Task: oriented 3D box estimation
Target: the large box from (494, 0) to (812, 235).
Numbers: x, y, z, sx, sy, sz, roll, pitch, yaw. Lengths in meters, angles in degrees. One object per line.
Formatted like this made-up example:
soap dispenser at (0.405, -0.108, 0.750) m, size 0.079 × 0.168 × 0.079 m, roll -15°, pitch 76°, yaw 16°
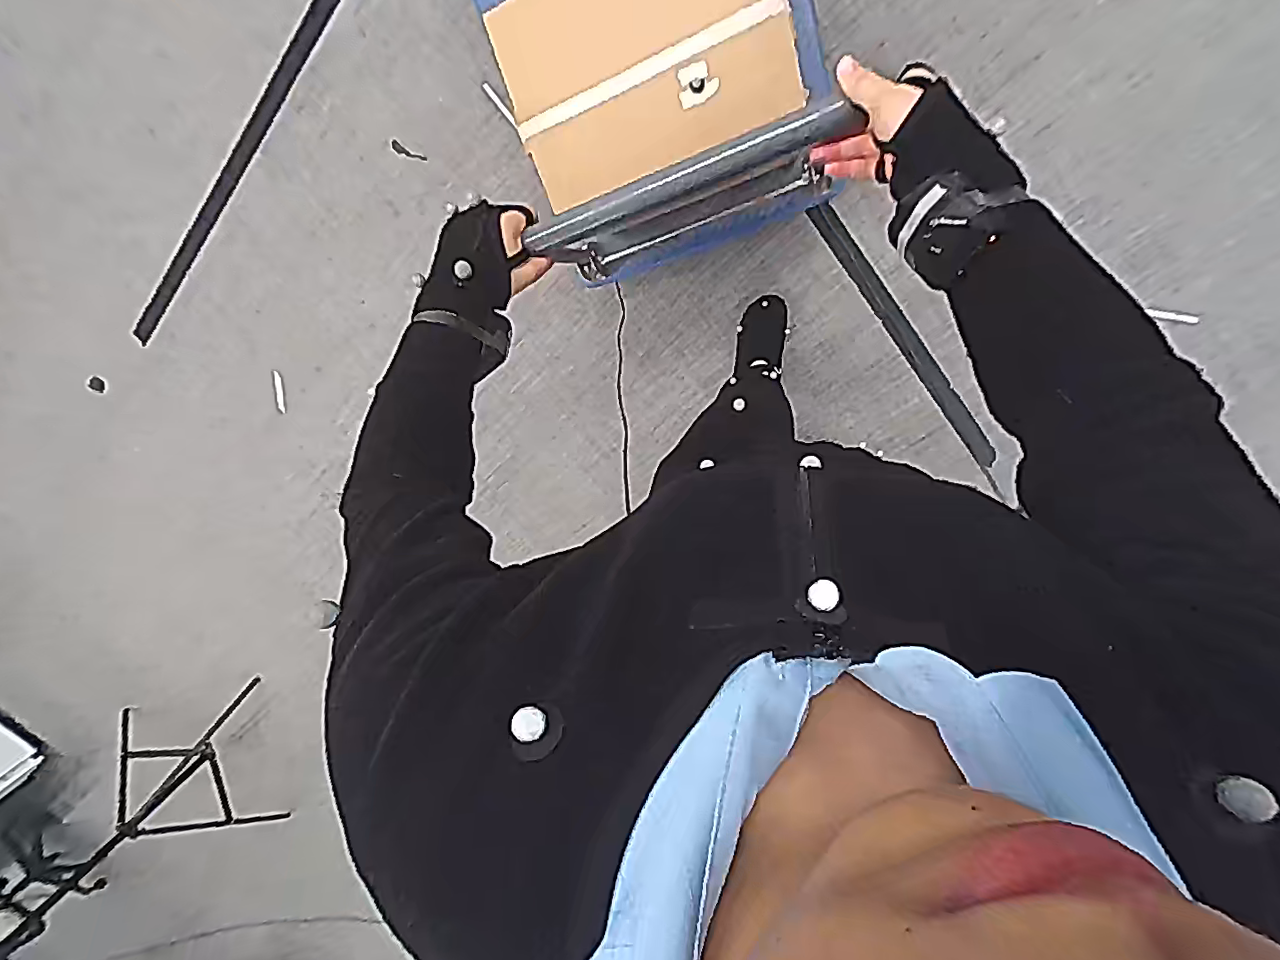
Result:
large box at (0.039, -0.651, 0.920) m, size 0.408 × 0.320 × 0.320 m, roll -15°, pitch 110°, yaw 17°
